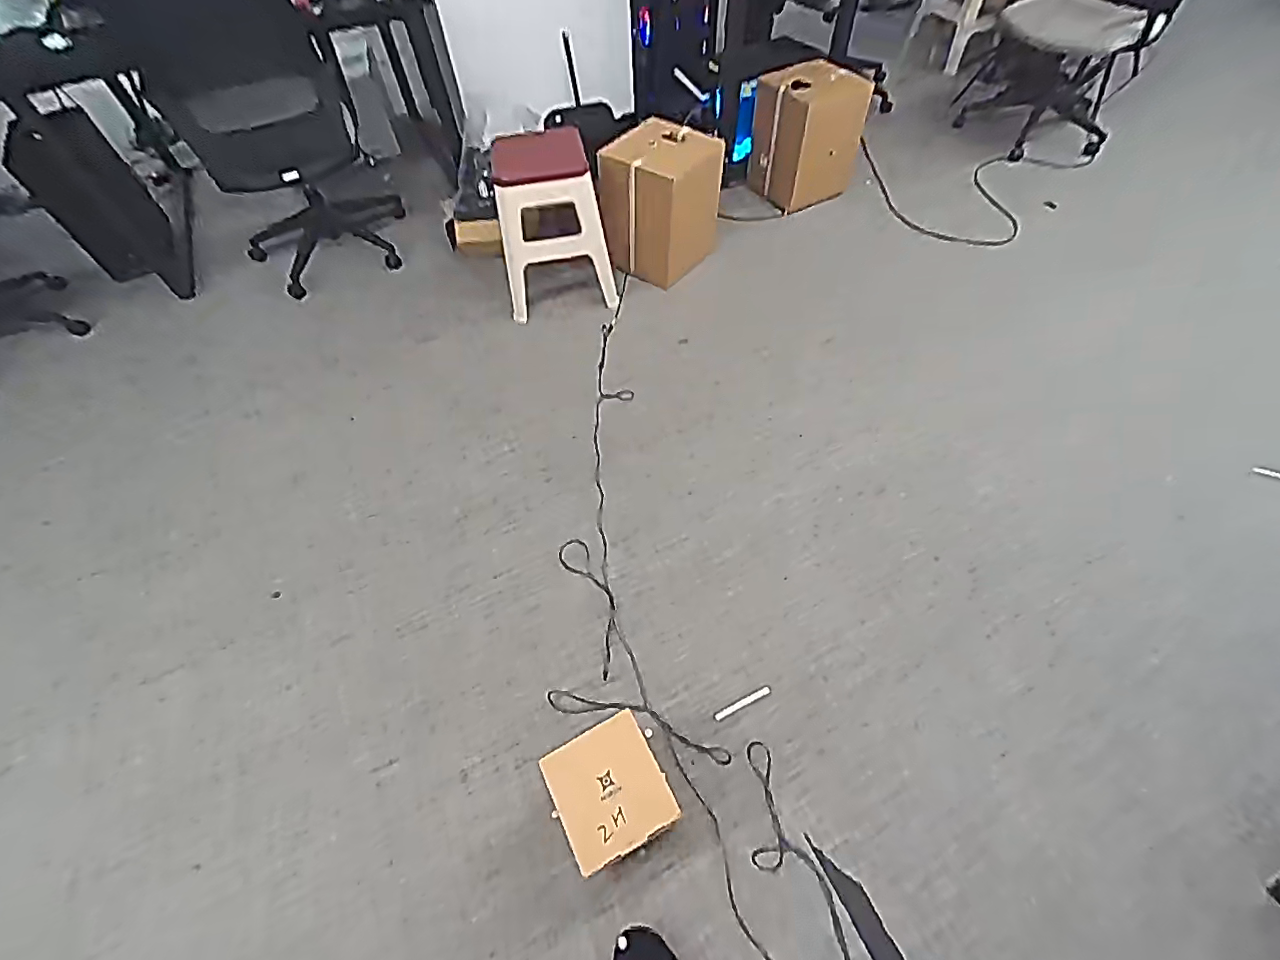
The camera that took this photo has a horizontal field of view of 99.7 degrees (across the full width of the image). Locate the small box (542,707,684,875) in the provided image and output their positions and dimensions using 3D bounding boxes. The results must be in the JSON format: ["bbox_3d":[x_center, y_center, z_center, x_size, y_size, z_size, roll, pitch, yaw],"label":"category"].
[{"bbox_3d":[-0.044,0.510,0.888,0.168,0.176,0.179,-25,59,-13],"label":"small box"}]
